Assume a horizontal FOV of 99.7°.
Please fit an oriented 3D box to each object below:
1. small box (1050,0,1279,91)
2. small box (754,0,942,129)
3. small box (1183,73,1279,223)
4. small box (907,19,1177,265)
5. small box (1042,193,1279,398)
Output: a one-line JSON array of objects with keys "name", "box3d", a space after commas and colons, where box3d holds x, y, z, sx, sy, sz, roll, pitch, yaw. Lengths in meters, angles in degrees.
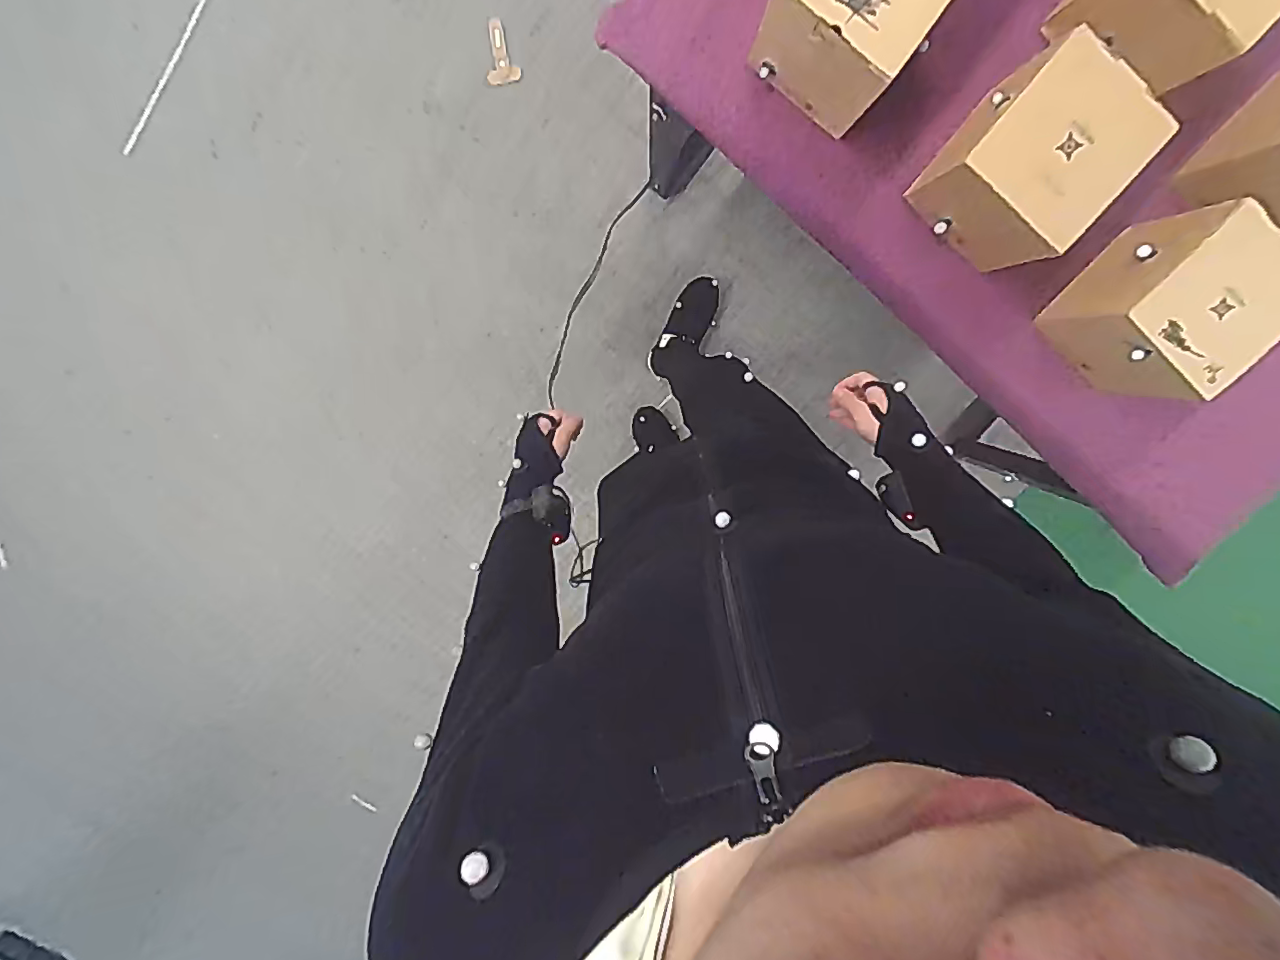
[{"name": "small box", "box3d": [0.643, -0.599, 0.627, 0.168, 0.176, 0.179, 38, 104, -7]}, {"name": "small box", "box3d": [0.254, -0.570, 0.644, 0.168, 0.176, 0.179, 35, 101, -7]}, {"name": "small box", "box3d": [0.856, -0.418, 0.664, 0.168, 0.176, 0.179, 40, 103, -7]}, {"name": "small box", "box3d": [0.483, -0.402, 0.683, 0.168, 0.176, 0.179, 39, 103, -7]}, {"name": "small box", "box3d": [0.700, -0.233, 0.717, 0.168, 0.176, 0.179, 40, 101, -7]}]
